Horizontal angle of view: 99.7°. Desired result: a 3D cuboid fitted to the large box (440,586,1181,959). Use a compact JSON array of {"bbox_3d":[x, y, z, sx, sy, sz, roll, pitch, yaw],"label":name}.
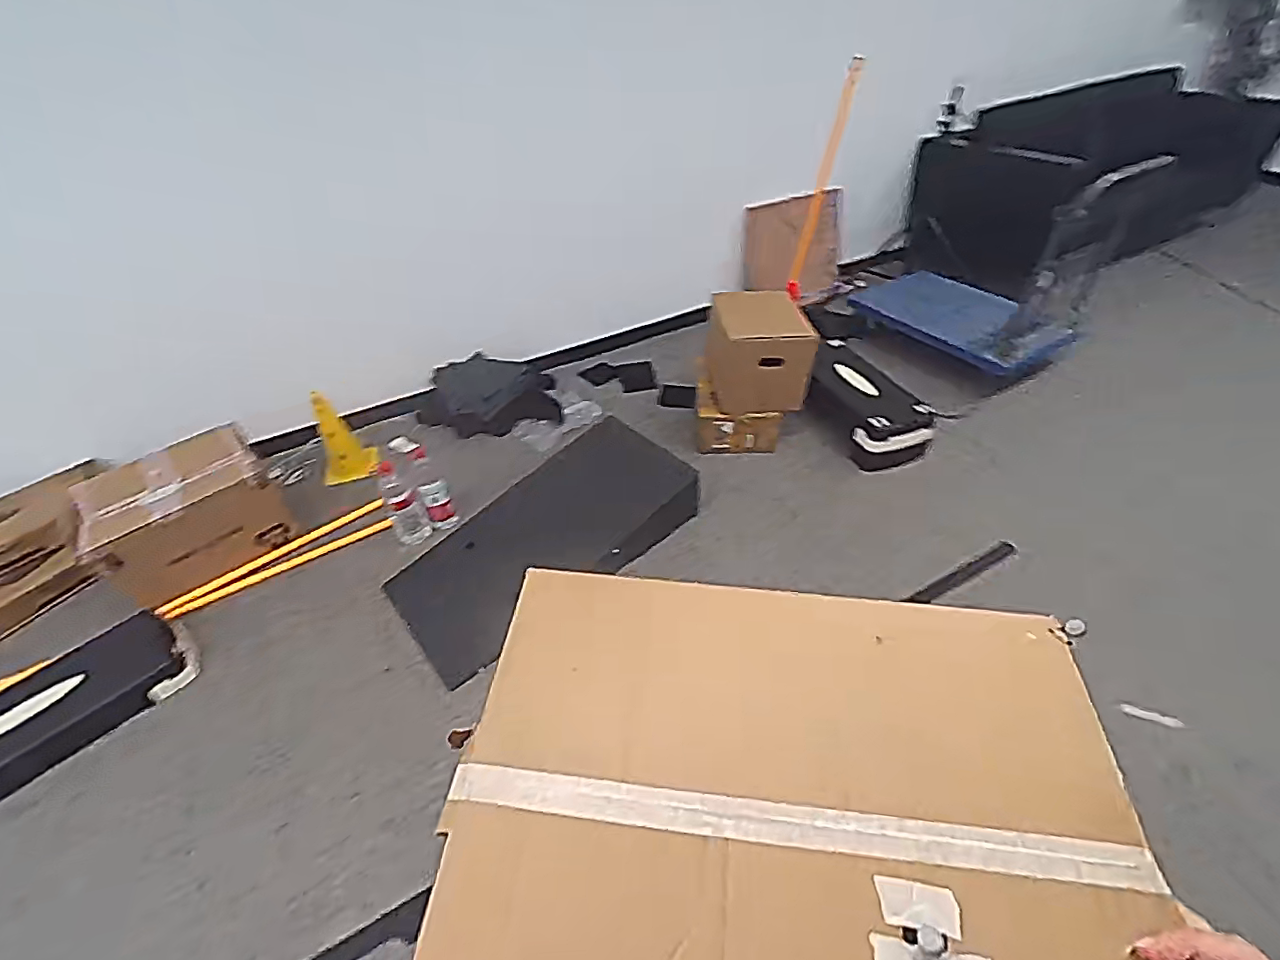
[{"bbox_3d":[0.097,0.313,0.442,0.408,0.320,0.320,5,51,6],"label":"large box"}]
